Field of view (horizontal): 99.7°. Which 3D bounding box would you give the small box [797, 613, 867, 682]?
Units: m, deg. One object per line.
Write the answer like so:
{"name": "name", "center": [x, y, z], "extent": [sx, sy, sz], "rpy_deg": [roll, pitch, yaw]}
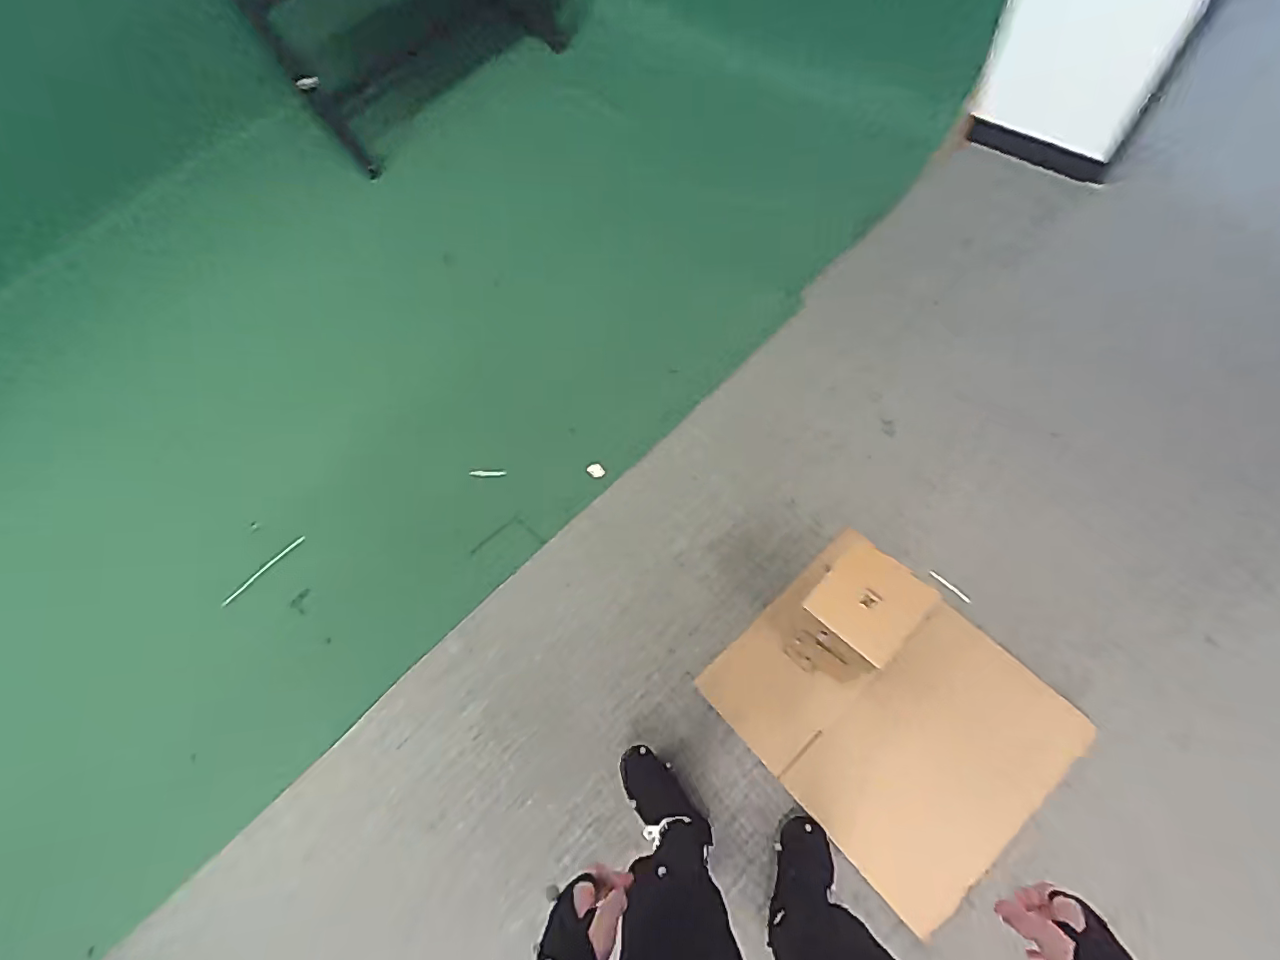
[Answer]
{"name": "small box", "center": [0.455, 0.311, 1.160], "extent": [0.168, 0.176, 0.179], "rpy_deg": [40, 78, 25]}

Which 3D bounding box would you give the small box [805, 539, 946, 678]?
{"name": "small box", "center": [0.427, 0.247, 1.013], "extent": [0.179, 0.176, 0.168], "rpy_deg": [-45, 64, -10]}

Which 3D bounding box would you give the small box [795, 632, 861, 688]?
{"name": "small box", "center": [0.488, 0.377, 1.305], "extent": [0.168, 0.176, 0.179], "rpy_deg": [36, 78, 24]}
